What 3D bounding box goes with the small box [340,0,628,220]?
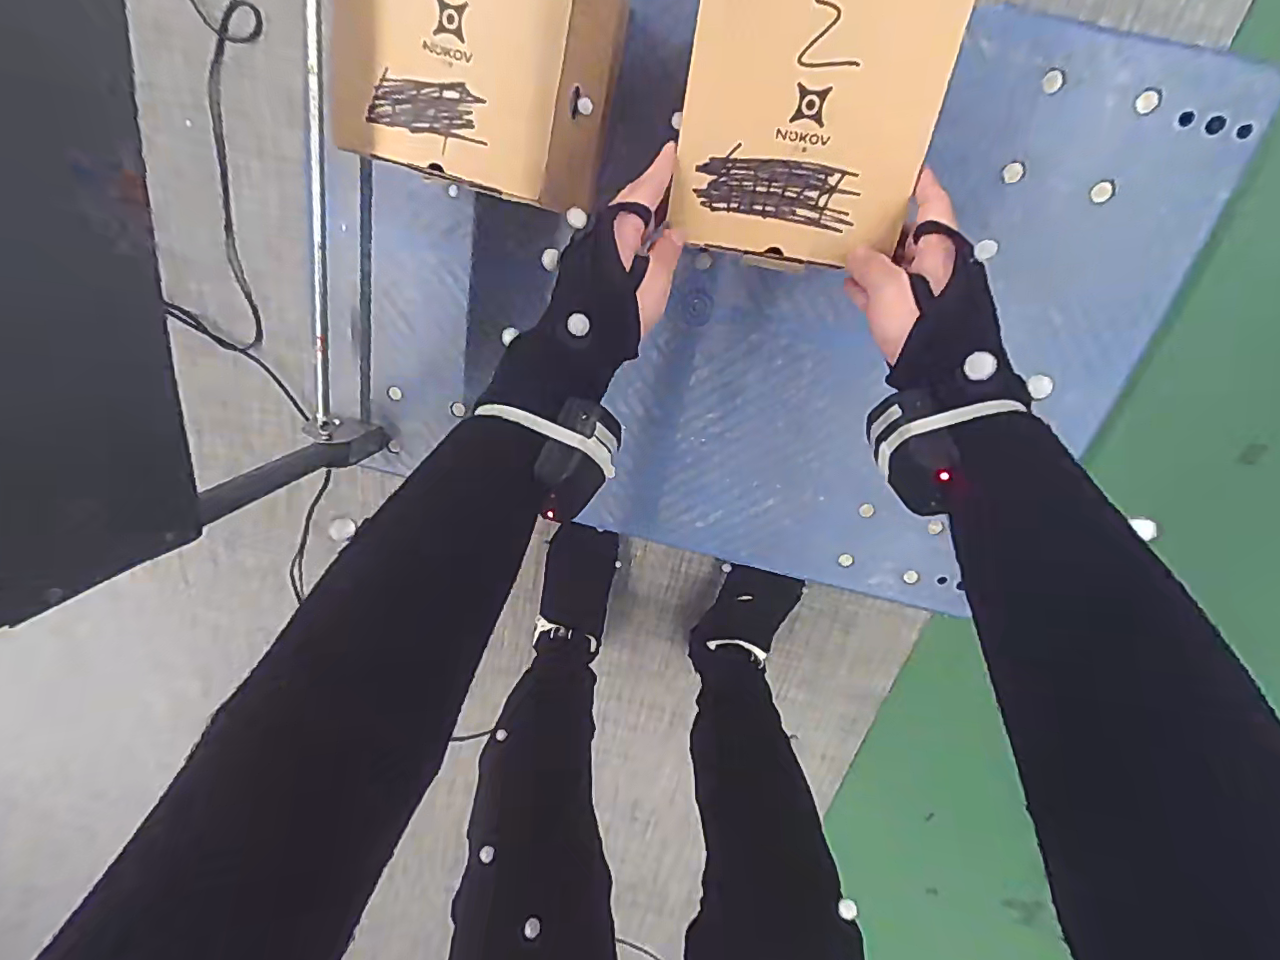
[{"bbox_3d":[-0.115,-0.328,0.444,0.168,0.176,0.179,16,113,1],"label":"small box"}]
